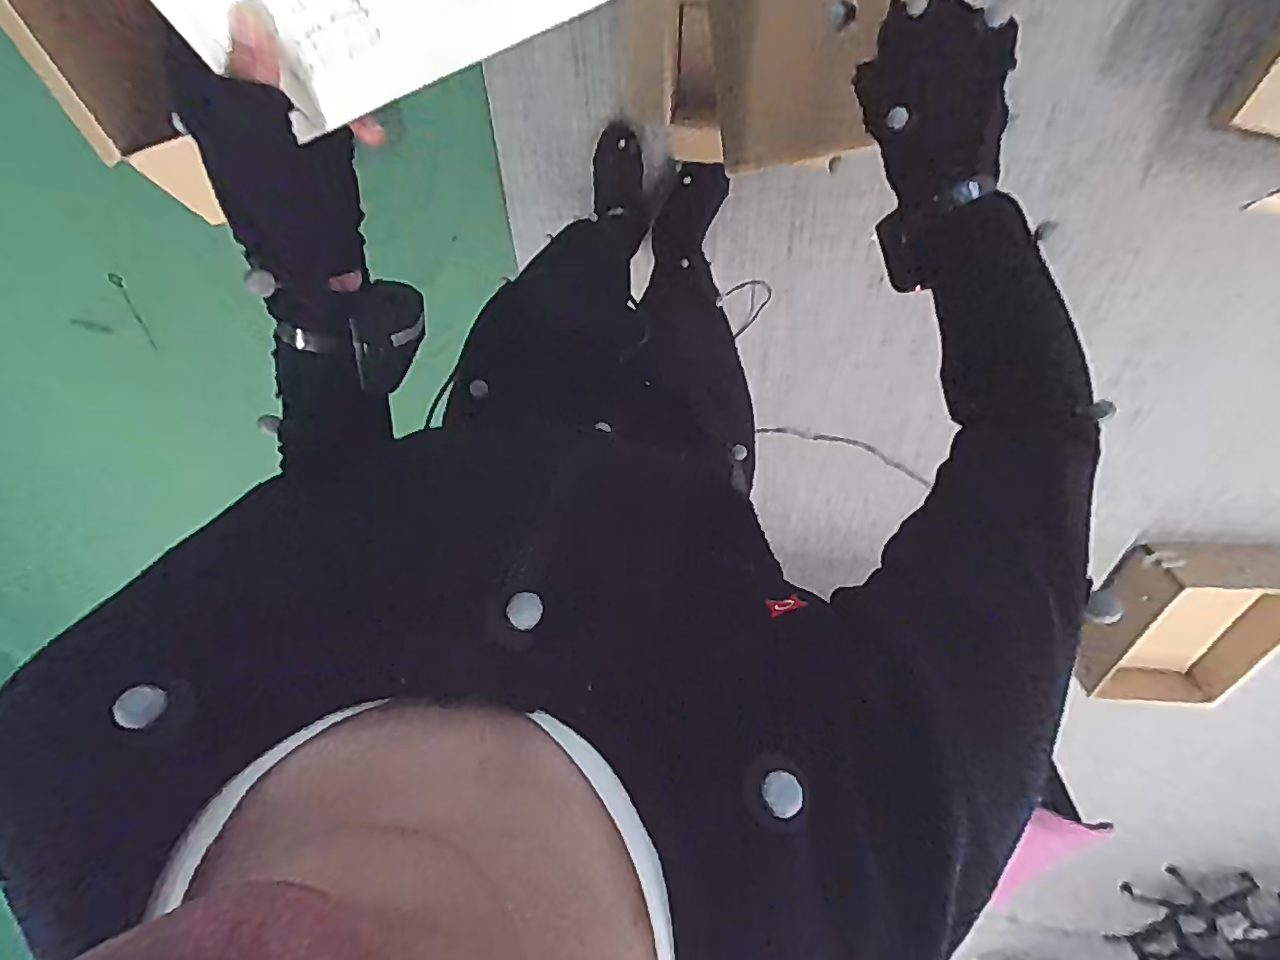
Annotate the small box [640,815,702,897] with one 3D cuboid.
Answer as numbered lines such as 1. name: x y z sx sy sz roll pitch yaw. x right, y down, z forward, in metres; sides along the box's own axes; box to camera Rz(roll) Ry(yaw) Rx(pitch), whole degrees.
1. small box: 0.088 1.079 1.540 0.168 0.176 0.179 3 130 5

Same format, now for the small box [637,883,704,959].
1. small box: 0.078 1.182 1.413 0.168 0.176 0.179 3 128 5
